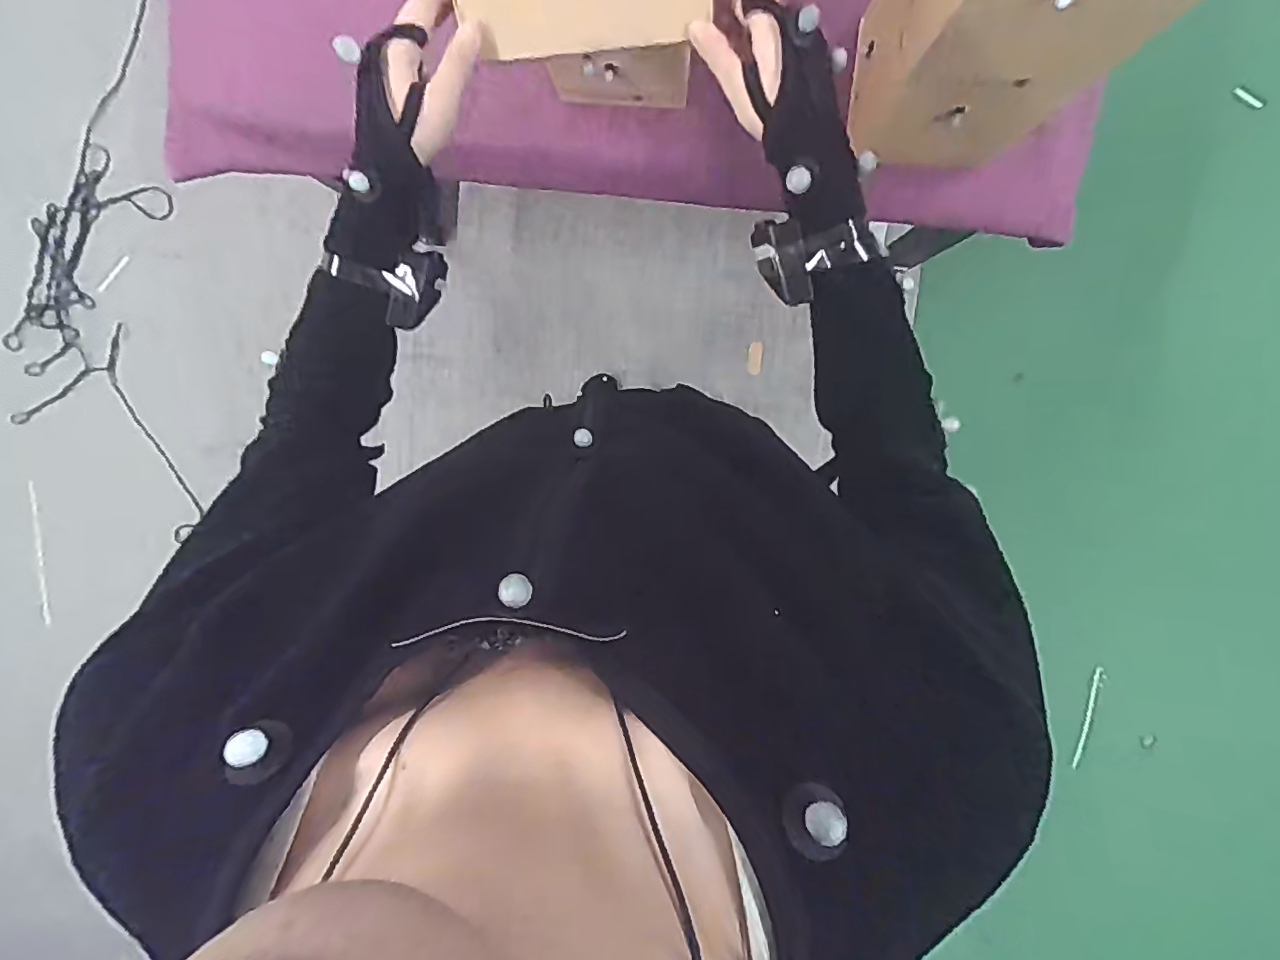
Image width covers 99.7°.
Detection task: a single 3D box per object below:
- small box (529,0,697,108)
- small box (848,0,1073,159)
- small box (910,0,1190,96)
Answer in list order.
[{"bbox_3d":[-0.019,-0.560,0.616,0.168,0.176,0.179,6,98,4],"label":"small box"},{"bbox_3d":[0.351,-0.477,0.598,0.179,0.176,0.168,5,100,6],"label":"small box"},{"bbox_3d":[0.339,-0.453,0.436,0.168,0.176,0.179,5,99,7],"label":"small box"}]
